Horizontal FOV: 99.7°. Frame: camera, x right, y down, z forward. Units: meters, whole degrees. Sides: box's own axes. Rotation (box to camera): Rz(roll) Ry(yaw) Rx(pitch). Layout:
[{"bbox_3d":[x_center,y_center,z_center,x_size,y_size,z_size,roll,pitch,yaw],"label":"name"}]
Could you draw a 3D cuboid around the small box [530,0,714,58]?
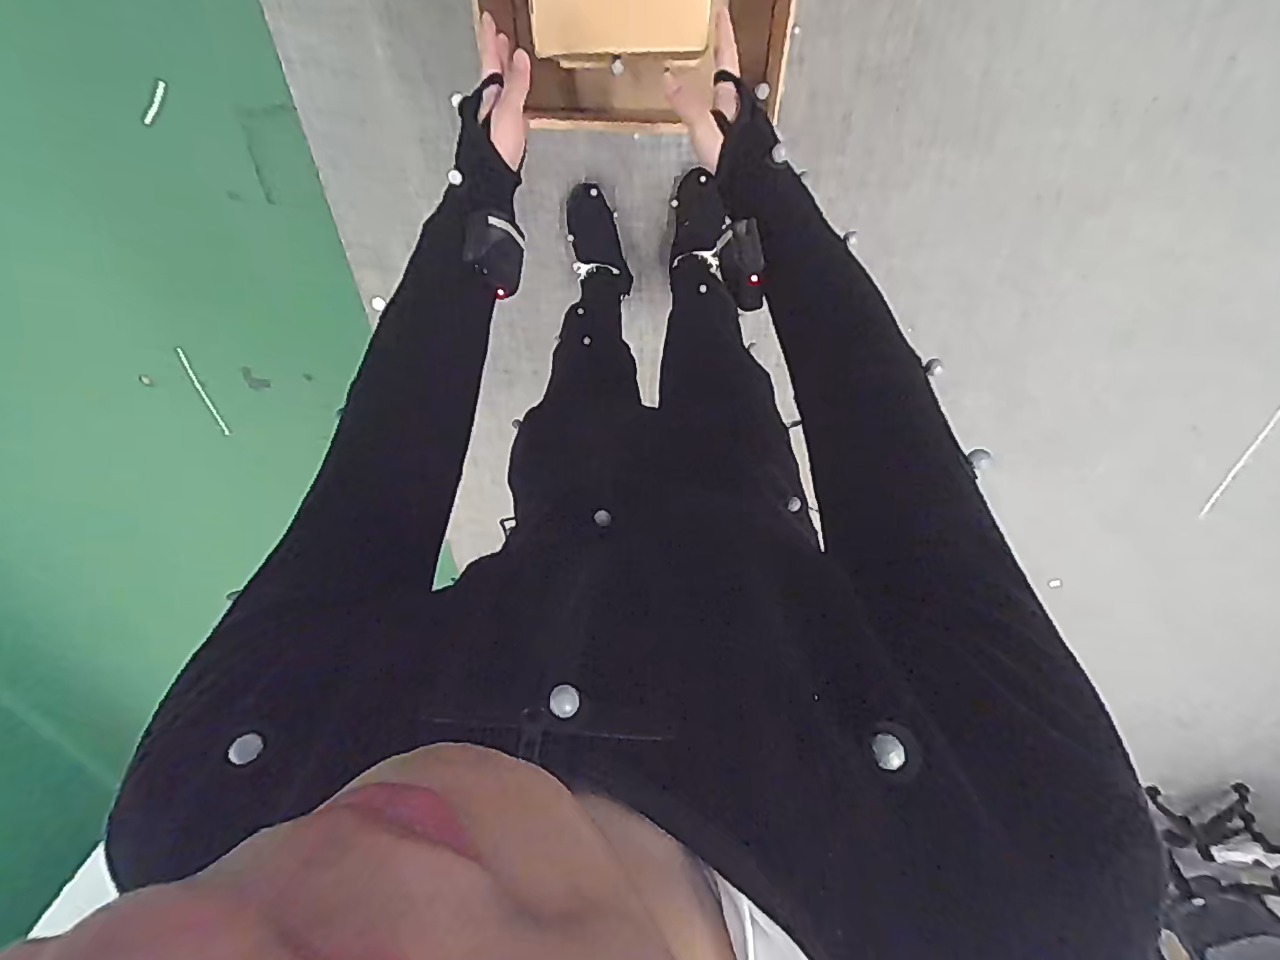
[{"bbox_3d":[-0.012,-0.532,0.543,0.179,0.176,0.168,3,127,6],"label":"small box"}]
